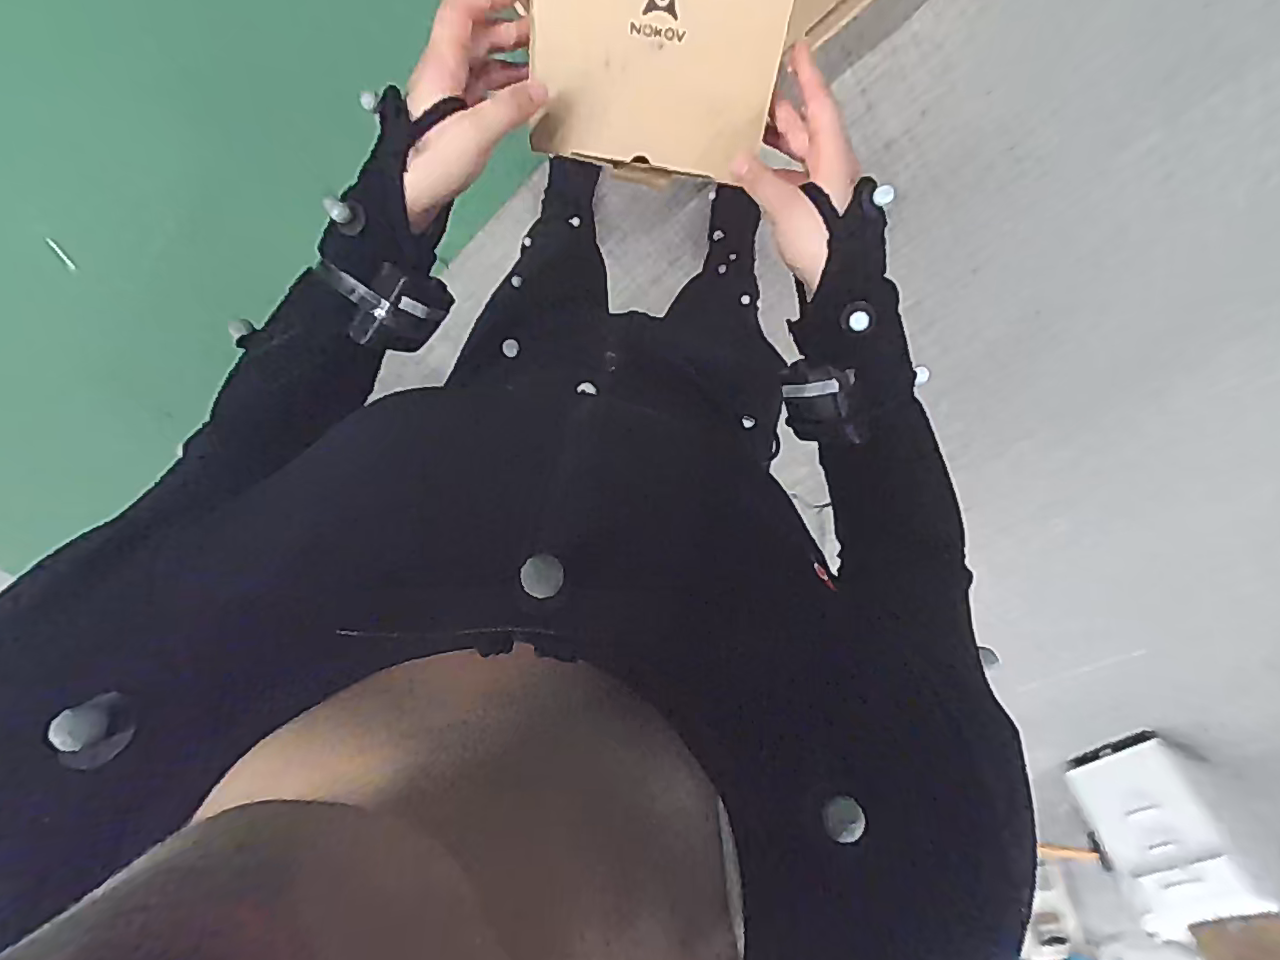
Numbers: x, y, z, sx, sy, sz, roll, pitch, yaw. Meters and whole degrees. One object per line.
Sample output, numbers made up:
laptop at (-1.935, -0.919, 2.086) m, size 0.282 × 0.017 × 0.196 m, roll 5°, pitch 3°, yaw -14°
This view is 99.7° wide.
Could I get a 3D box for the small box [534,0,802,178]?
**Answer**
small box at (0.025, -0.347, 0.400) m, size 0.168 × 0.176 × 0.179 m, roll 10°, pitch 126°, yaw -3°
